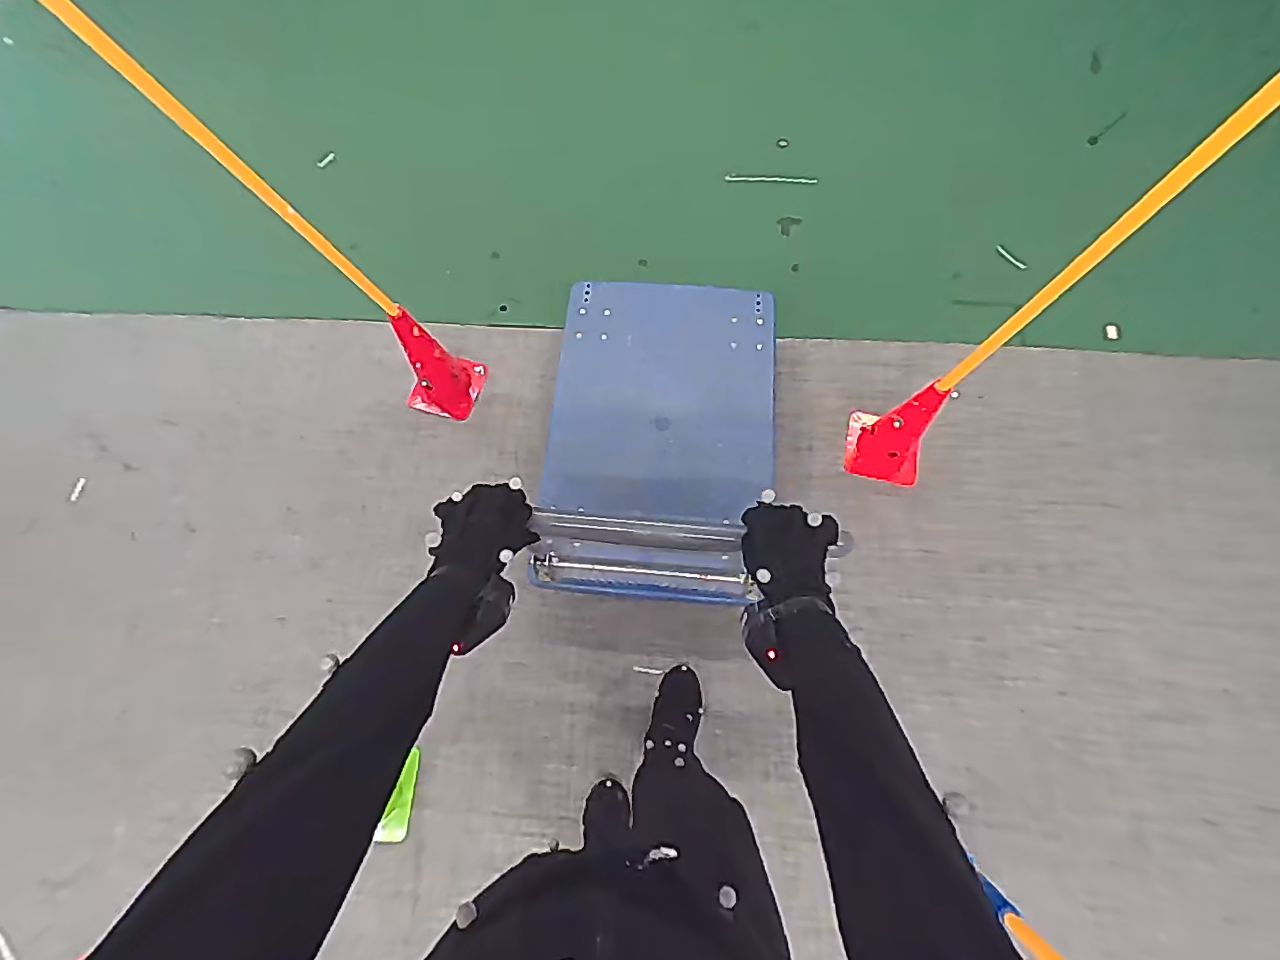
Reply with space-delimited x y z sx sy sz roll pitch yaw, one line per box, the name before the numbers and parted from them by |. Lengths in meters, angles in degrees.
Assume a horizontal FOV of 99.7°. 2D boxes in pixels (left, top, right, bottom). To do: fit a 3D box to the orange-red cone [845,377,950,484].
orange-red cone | 0.680 -0.151 1.363 0.198 0.360 0.199 13 72 8
